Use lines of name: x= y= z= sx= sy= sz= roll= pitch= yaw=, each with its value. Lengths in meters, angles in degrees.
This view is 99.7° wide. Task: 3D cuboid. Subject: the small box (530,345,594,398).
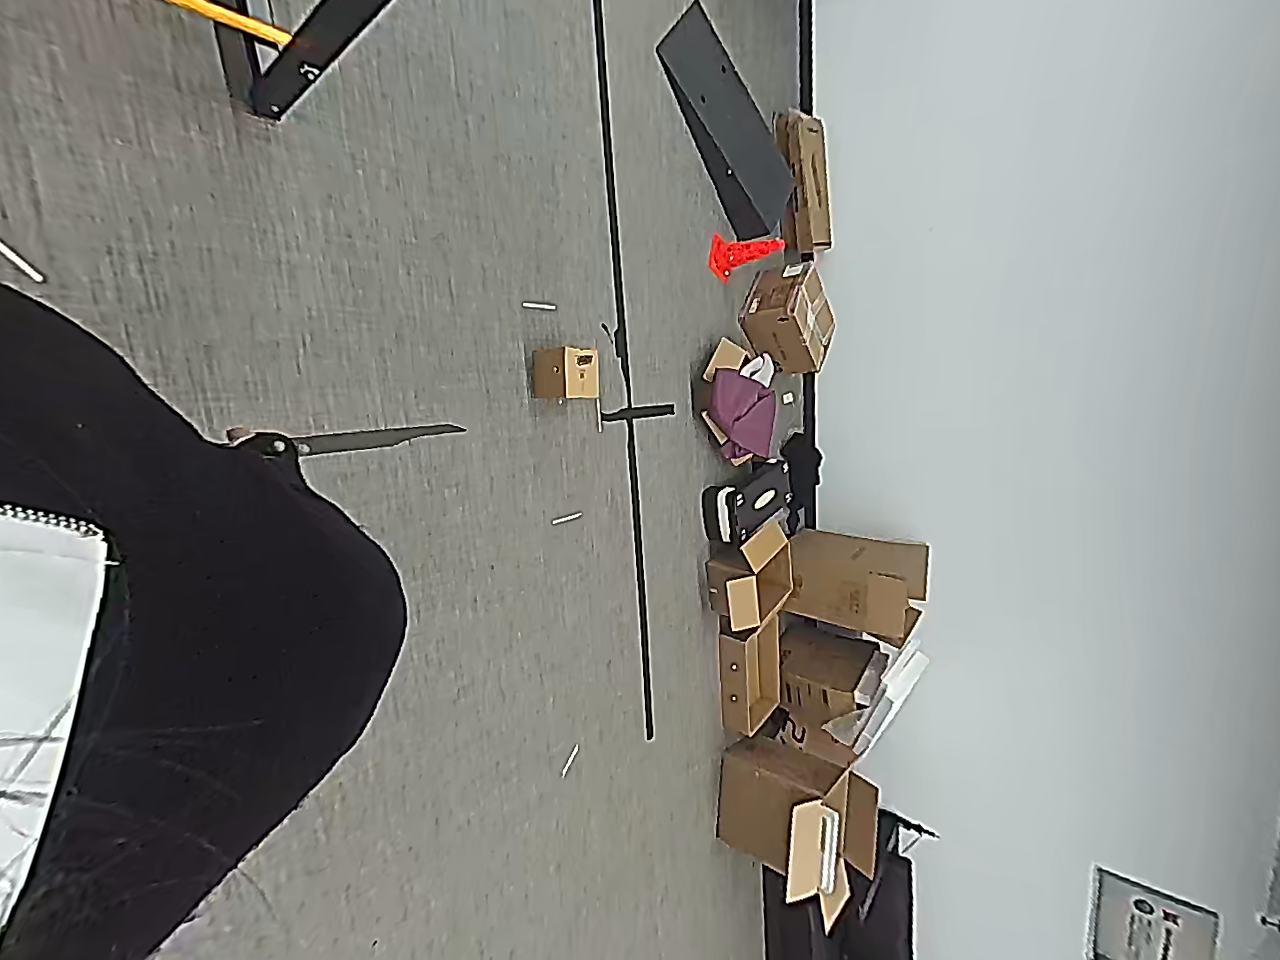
small box: x=-0.283 y=-0.387 z=1.952 sx=0.168 sy=0.176 sz=0.179 roll=-10 pitch=102 yaw=-50
